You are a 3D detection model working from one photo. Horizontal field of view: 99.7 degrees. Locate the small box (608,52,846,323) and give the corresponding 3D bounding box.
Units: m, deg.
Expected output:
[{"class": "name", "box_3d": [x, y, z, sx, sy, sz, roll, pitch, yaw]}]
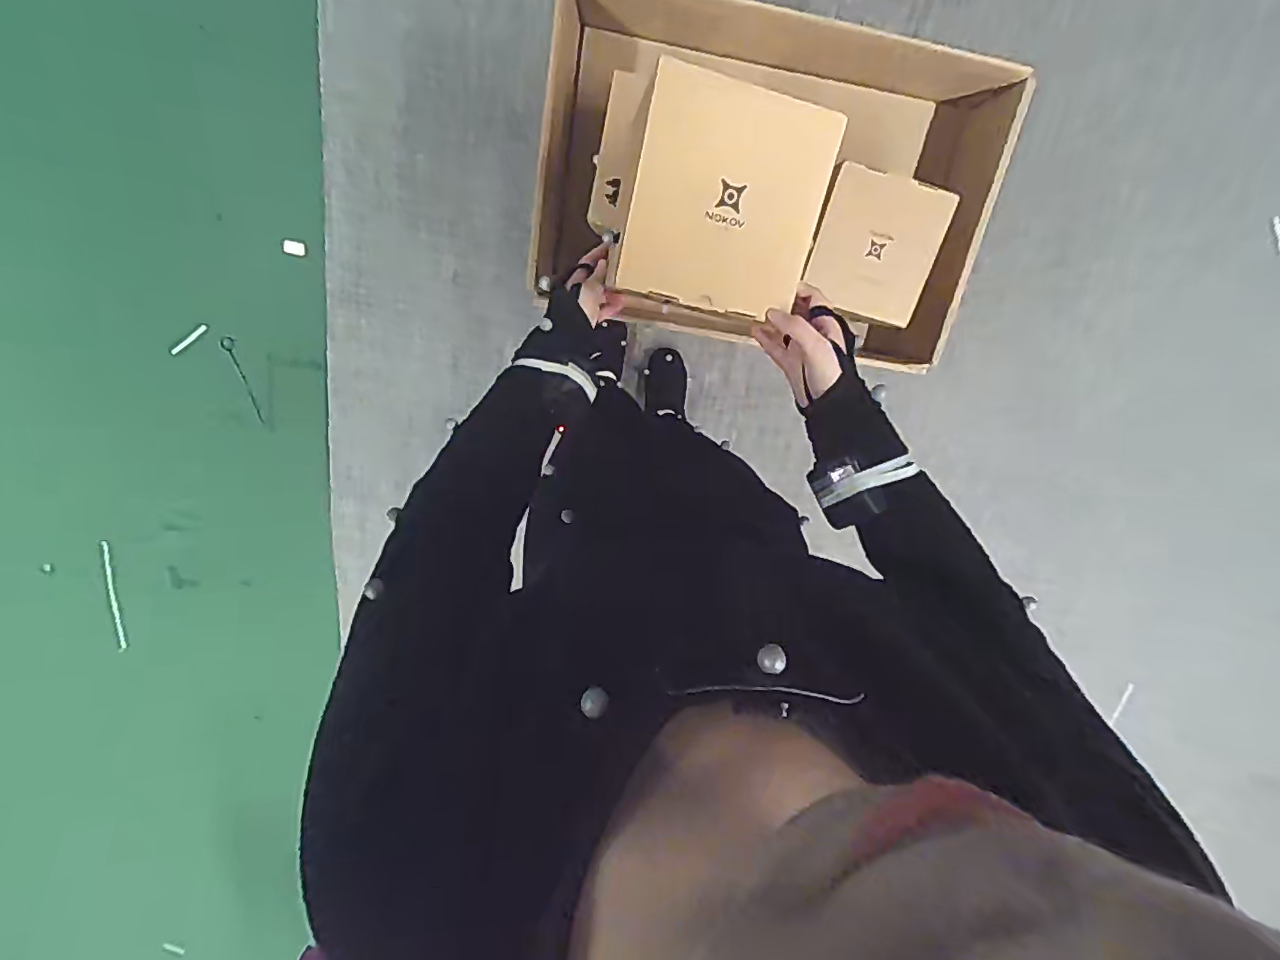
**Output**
[{"class": "small box", "box_3d": [0.066, -0.266, 0.536, 0.168, 0.176, 0.179, 10, 108, -11]}]
